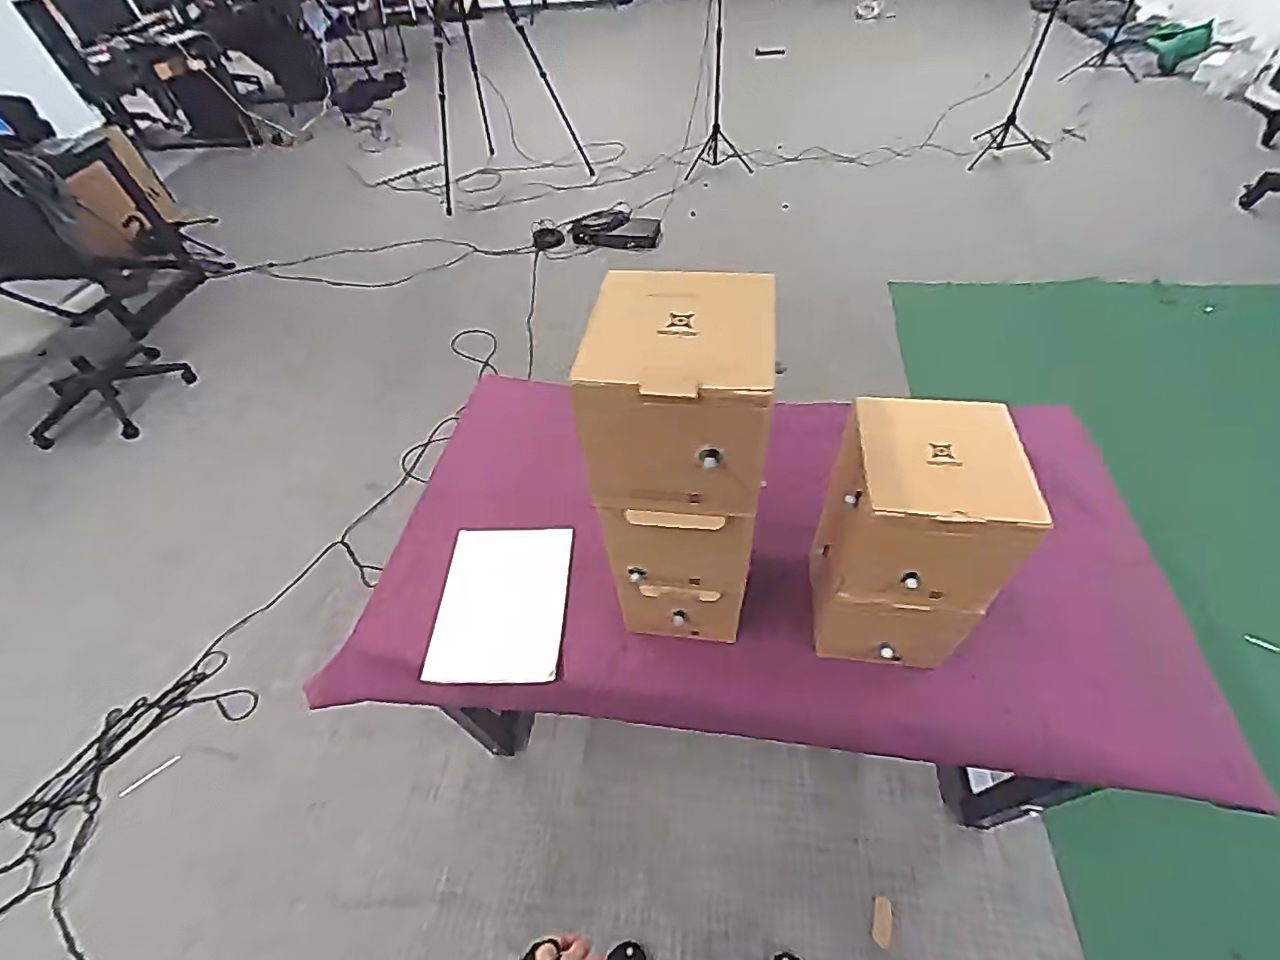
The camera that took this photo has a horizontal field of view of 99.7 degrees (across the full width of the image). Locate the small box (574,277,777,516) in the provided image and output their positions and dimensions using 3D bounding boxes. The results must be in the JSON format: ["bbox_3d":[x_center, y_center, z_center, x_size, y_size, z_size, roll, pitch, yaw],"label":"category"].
[{"bbox_3d":[0.044,-0.082,0.545,0.168,0.176,0.179,5,50,9],"label":"small box"}]

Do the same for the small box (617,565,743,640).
[{"bbox_3d":[0.070,0.120,0.802,0.168,0.176,0.179,4,51,9],"label":"small box"}]

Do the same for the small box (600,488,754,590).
[{"bbox_3d":[0.057,0.019,0.673,0.168,0.176,0.179,4,50,9],"label":"small box"}]

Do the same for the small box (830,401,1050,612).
[{"bbox_3d":[0.327,0.030,0.637,0.168,0.176,0.179,4,50,9],"label":"small box"}]
